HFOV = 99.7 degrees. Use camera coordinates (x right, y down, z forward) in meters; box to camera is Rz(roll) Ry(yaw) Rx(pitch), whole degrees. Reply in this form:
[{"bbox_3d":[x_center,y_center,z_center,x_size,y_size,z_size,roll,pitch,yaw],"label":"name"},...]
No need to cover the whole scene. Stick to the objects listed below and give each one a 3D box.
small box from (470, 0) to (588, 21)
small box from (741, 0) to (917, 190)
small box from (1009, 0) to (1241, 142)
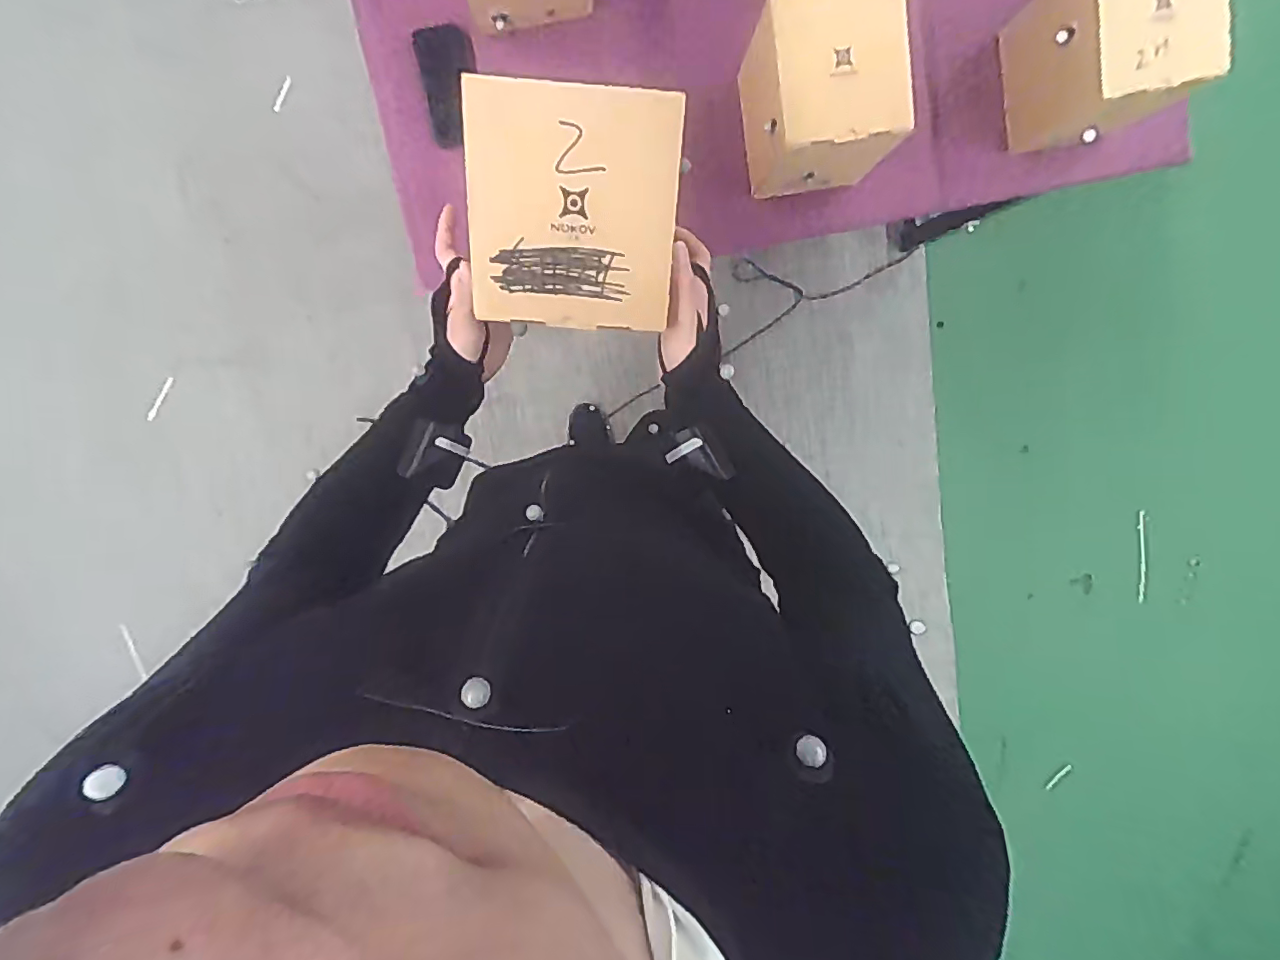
[{"bbox_3d":[-0.160,-0.718,0.670,0.168,0.176,0.179,-12,100,-1],"label":"small box"},{"bbox_3d":[0.240,-0.520,0.723,0.168,0.176,0.179,-10,99,-1],"label":"small box"},{"bbox_3d":[0.631,-0.594,0.723,0.168,0.176,0.179,-12,101,1],"label":"small box"}]
